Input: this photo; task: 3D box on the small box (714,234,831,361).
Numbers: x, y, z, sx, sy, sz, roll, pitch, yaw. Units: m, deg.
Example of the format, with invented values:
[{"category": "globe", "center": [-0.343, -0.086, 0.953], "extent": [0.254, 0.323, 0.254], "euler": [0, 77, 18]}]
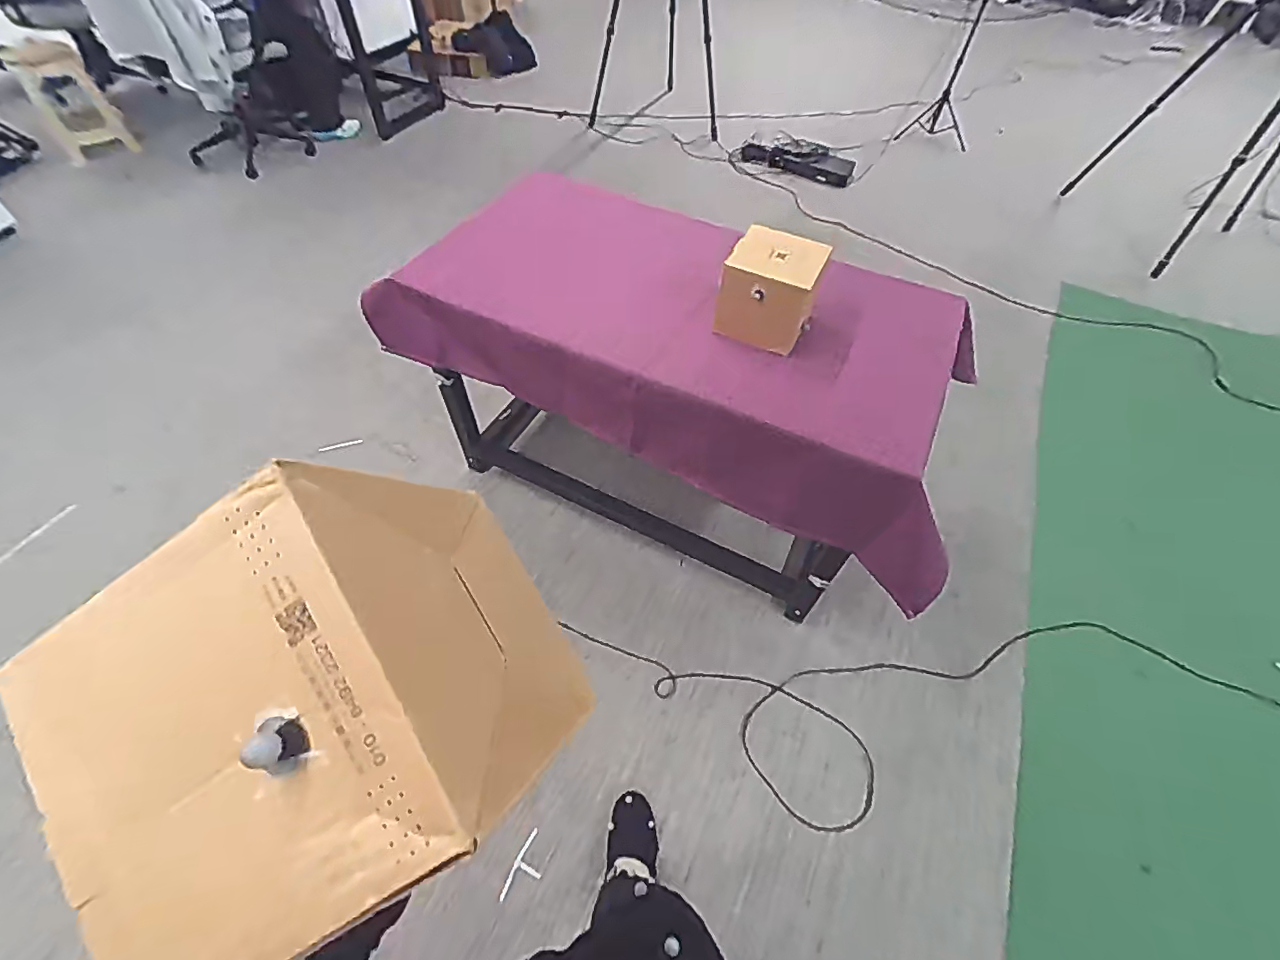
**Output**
[{"category": "small box", "center": [0.269, -0.377, 1.128], "extent": [0.179, 0.176, 0.168], "euler": [24, 56, 14]}]

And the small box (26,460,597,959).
[{"category": "small box", "center": [-0.145, 0.108, 0.298], "extent": [0.176, 0.179, 0.168], "euler": [-35, 78, 5]}]
